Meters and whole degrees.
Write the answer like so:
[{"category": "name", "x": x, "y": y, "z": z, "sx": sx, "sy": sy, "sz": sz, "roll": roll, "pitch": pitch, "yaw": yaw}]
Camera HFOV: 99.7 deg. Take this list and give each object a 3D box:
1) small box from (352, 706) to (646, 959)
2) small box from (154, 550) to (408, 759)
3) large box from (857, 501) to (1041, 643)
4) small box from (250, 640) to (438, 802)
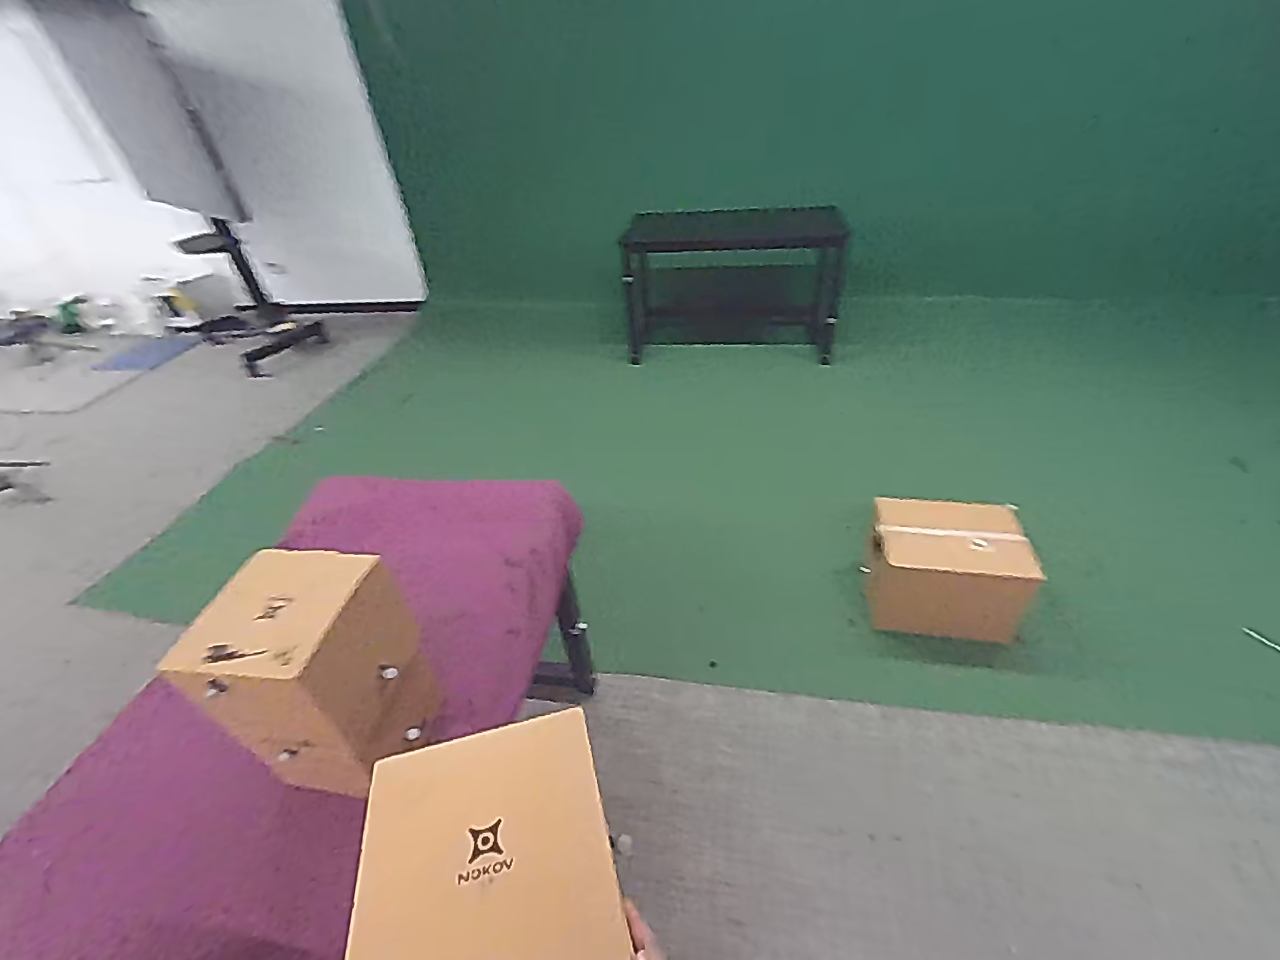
[{"category": "small box", "x": -0.092, "y": 0.309, "z": 0.401, "sx": 0.168, "sy": 0.176, "sz": 0.179, "roll": -11, "pitch": 34, "yaw": -10}, {"category": "small box", "x": -0.411, "y": 0.209, "z": 0.663, "sx": 0.168, "sy": 0.176, "sz": 0.179, "roll": 1, "pitch": 38, "yaw": 9}, {"category": "large box", "x": 0.949, "y": 0.289, "z": 1.729, "sx": 0.408, "sy": 0.320, "sz": 0.320, "roll": 4, "pitch": 39, "yaw": 11}, {"category": "small box", "x": -0.423, "y": 0.332, "z": 0.773, "sx": 0.179, "sy": 0.176, "sz": 0.168, "roll": 3, "pitch": 39, "yaw": 11}]
